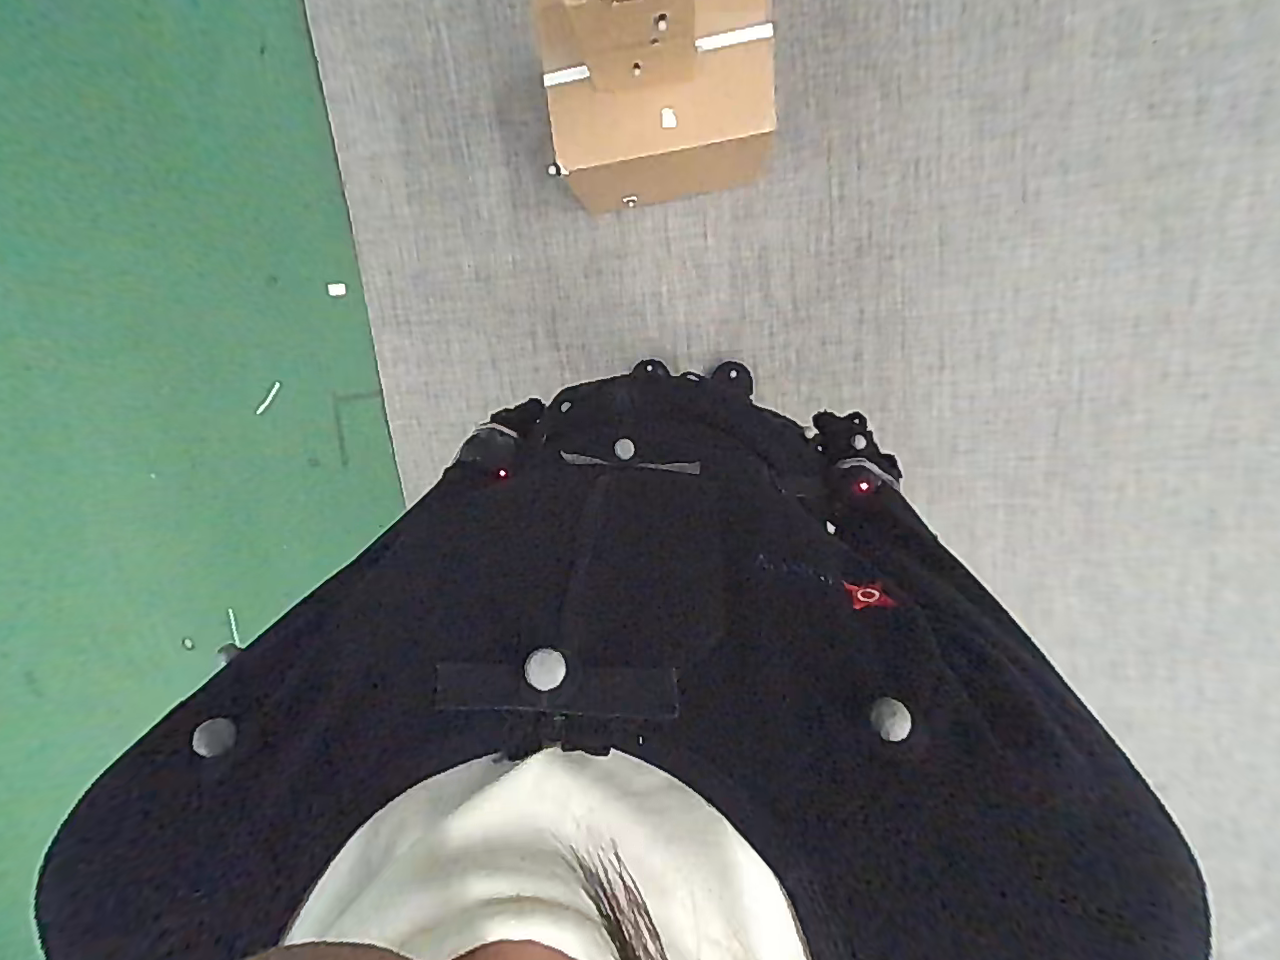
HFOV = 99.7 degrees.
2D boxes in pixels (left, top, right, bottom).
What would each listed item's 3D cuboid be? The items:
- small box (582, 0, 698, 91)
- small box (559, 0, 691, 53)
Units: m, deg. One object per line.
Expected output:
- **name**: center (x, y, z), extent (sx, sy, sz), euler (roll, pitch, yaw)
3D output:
- **small box**: center (-0.004, -0.756, 0.863), extent (0.179, 0.176, 0.168), euler (-6, 109, 8)
- **small box**: center (-0.022, -0.702, 0.711), extent (0.168, 0.176, 0.179), euler (-6, 107, 7)
